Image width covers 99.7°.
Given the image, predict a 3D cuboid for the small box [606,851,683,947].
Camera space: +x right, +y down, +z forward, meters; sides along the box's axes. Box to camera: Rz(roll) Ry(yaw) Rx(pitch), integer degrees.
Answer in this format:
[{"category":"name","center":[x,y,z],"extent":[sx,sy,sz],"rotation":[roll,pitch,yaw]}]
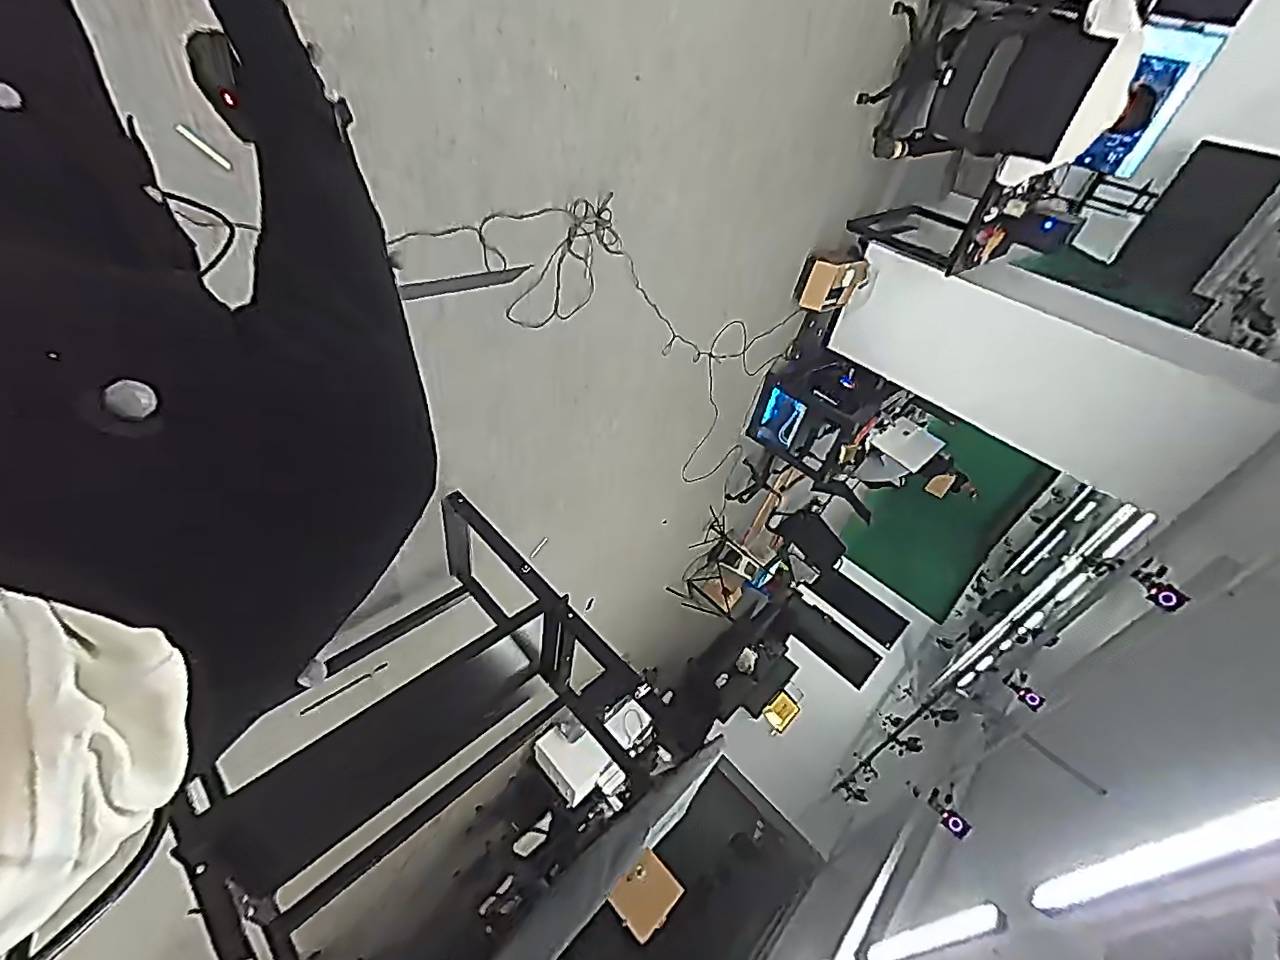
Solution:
[{"category":"small box","center":[0.007,1.313,1.702],"extent":[0.168,0.176,0.179],"rotation":[-33,148,-33]}]
